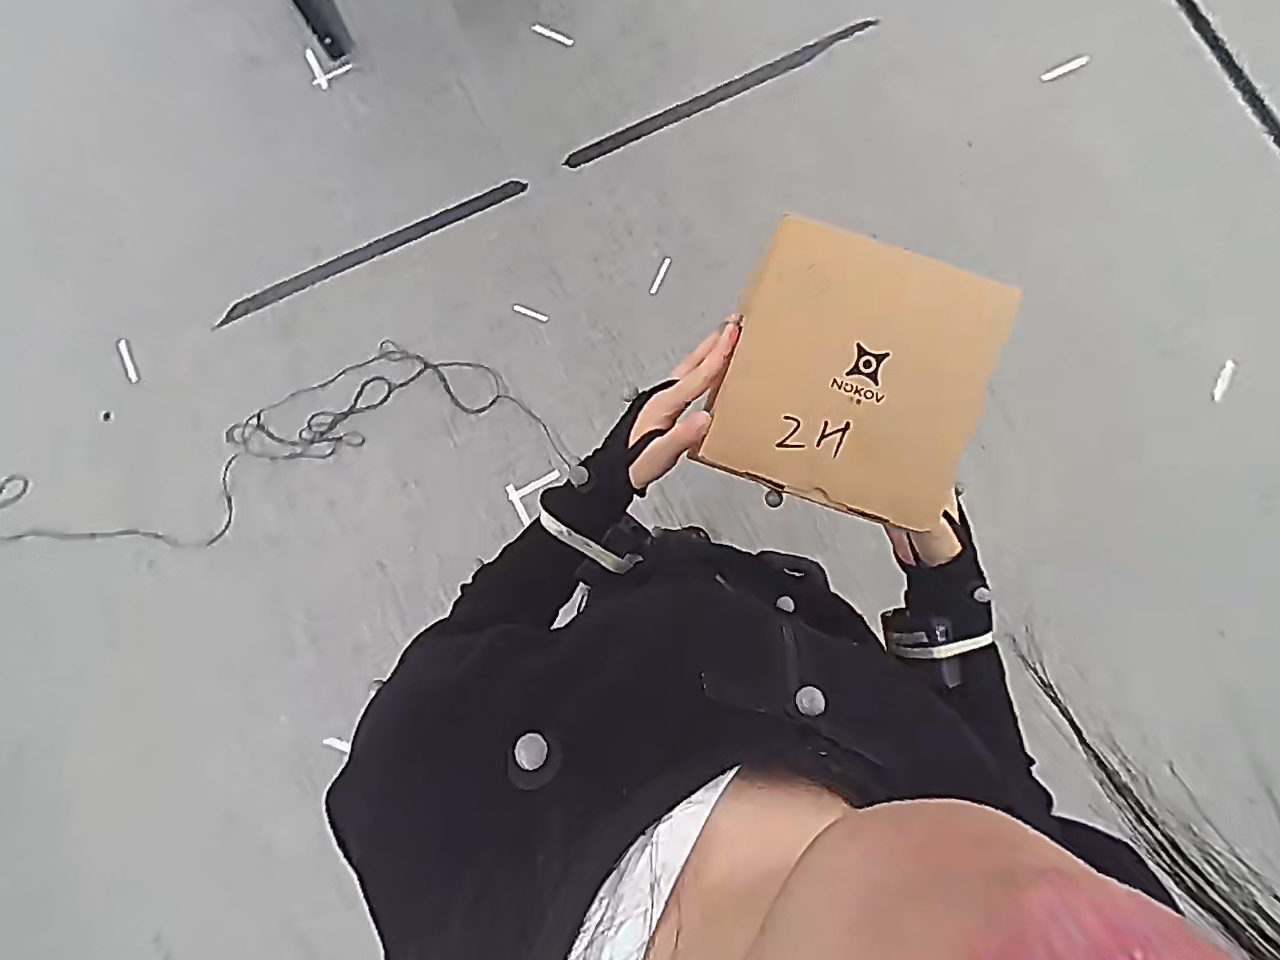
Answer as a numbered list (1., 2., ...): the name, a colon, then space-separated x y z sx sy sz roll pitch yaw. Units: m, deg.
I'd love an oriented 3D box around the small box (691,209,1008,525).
1. small box: 0.145 -0.078 0.444 0.168 0.176 0.179 19 92 1
